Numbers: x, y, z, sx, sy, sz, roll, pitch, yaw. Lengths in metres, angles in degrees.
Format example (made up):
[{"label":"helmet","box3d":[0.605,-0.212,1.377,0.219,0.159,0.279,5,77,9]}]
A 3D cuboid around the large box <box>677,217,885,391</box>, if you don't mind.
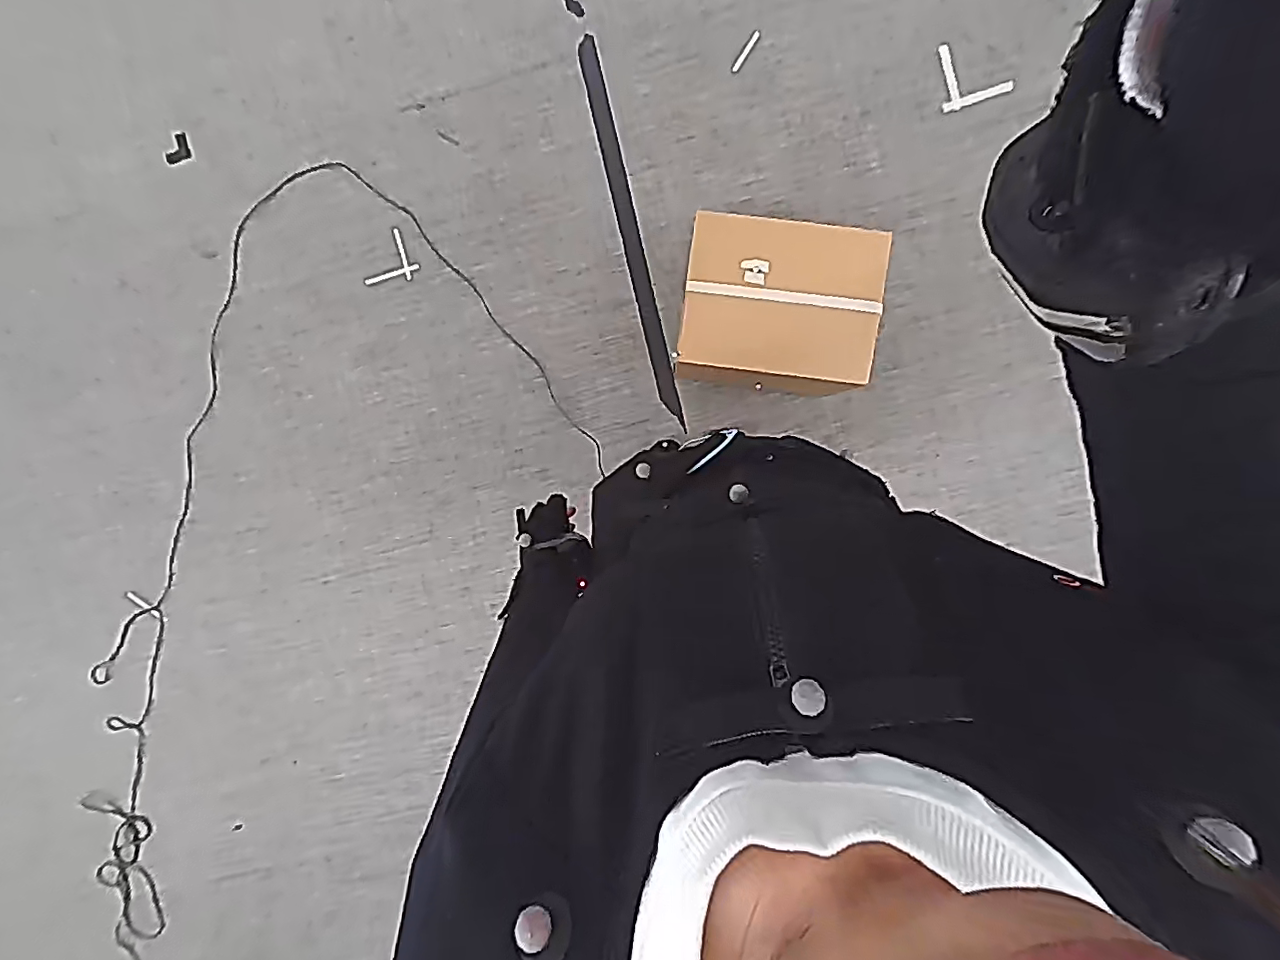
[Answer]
[{"label":"large box","box3d":[0.306,-0.392,1.283,0.408,0.320,0.320,7,94,3]}]
